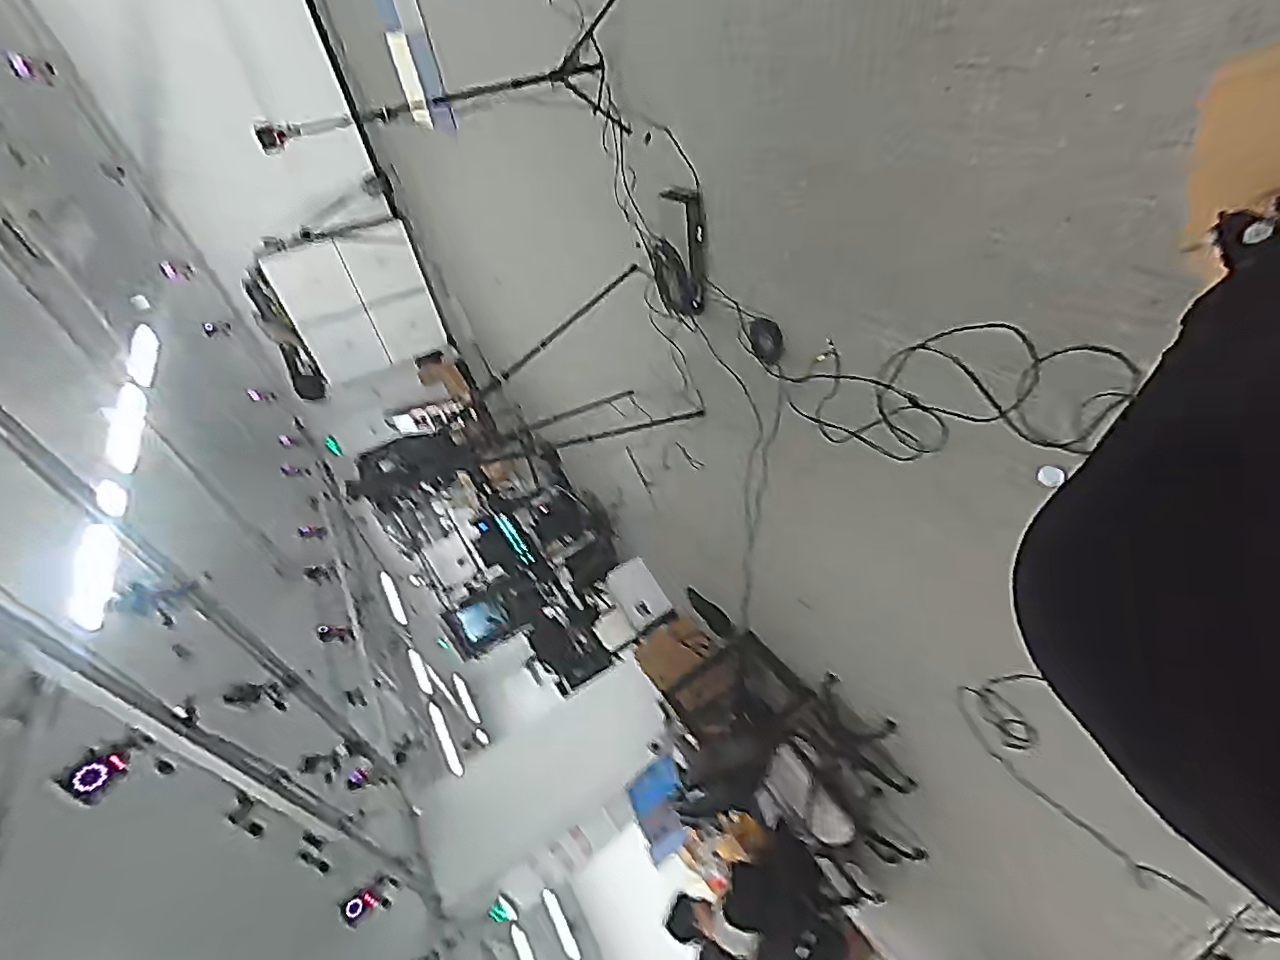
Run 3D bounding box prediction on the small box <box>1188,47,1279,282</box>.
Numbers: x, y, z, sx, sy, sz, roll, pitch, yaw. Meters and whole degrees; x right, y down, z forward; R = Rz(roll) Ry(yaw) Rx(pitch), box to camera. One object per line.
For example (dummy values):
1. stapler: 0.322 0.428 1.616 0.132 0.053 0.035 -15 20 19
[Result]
1. small box: 0.659 -0.309 0.516 0.168 0.179 0.176 9 98 53
